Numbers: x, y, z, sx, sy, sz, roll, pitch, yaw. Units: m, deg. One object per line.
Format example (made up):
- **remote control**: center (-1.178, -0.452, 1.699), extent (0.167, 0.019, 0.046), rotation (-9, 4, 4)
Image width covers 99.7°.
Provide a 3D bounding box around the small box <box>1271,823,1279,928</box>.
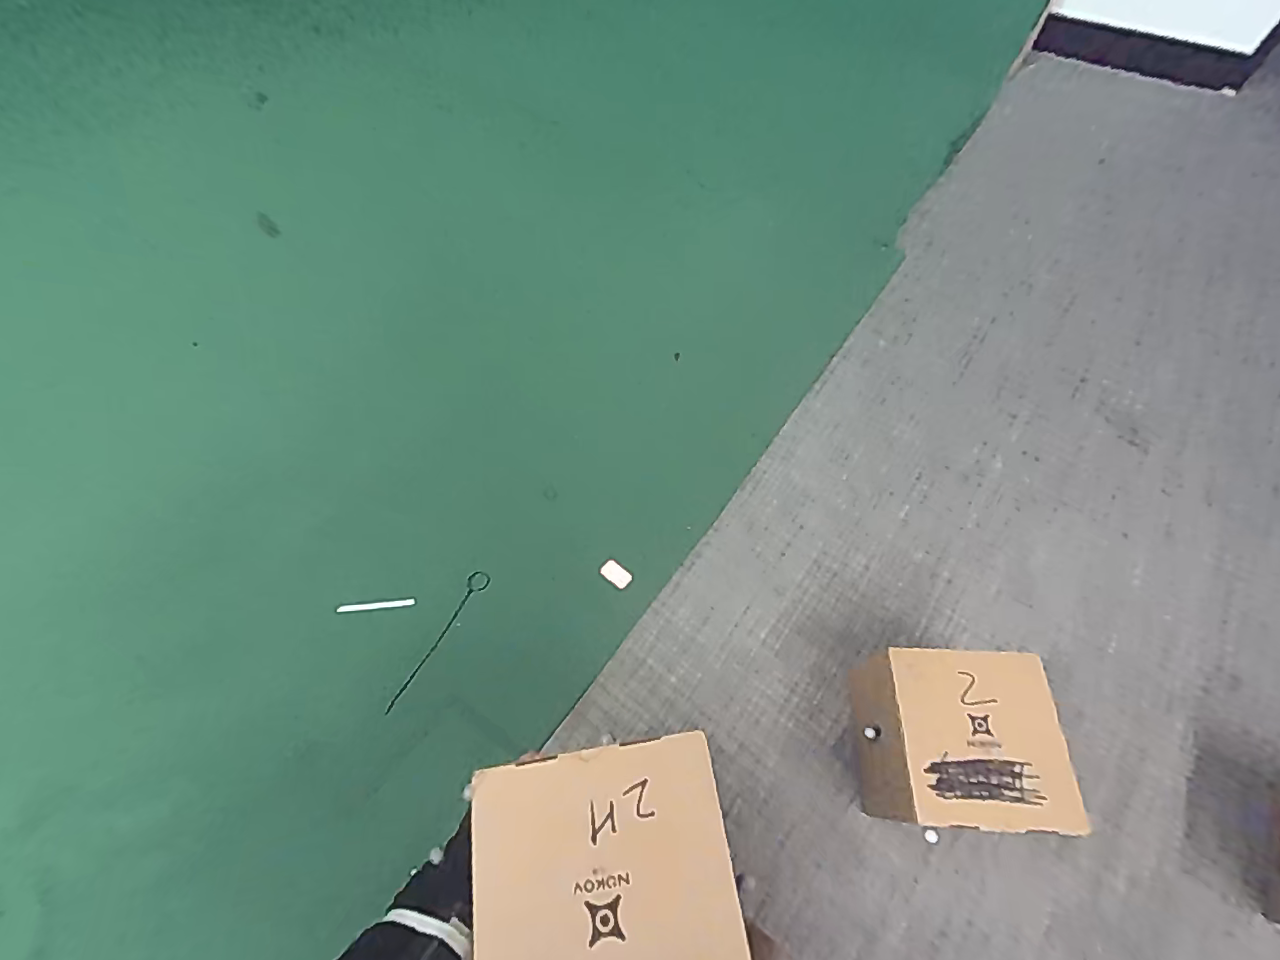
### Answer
- **small box**: center (0.812, 0.436, 0.544), extent (0.179, 0.176, 0.168), rotation (25, 66, 17)
